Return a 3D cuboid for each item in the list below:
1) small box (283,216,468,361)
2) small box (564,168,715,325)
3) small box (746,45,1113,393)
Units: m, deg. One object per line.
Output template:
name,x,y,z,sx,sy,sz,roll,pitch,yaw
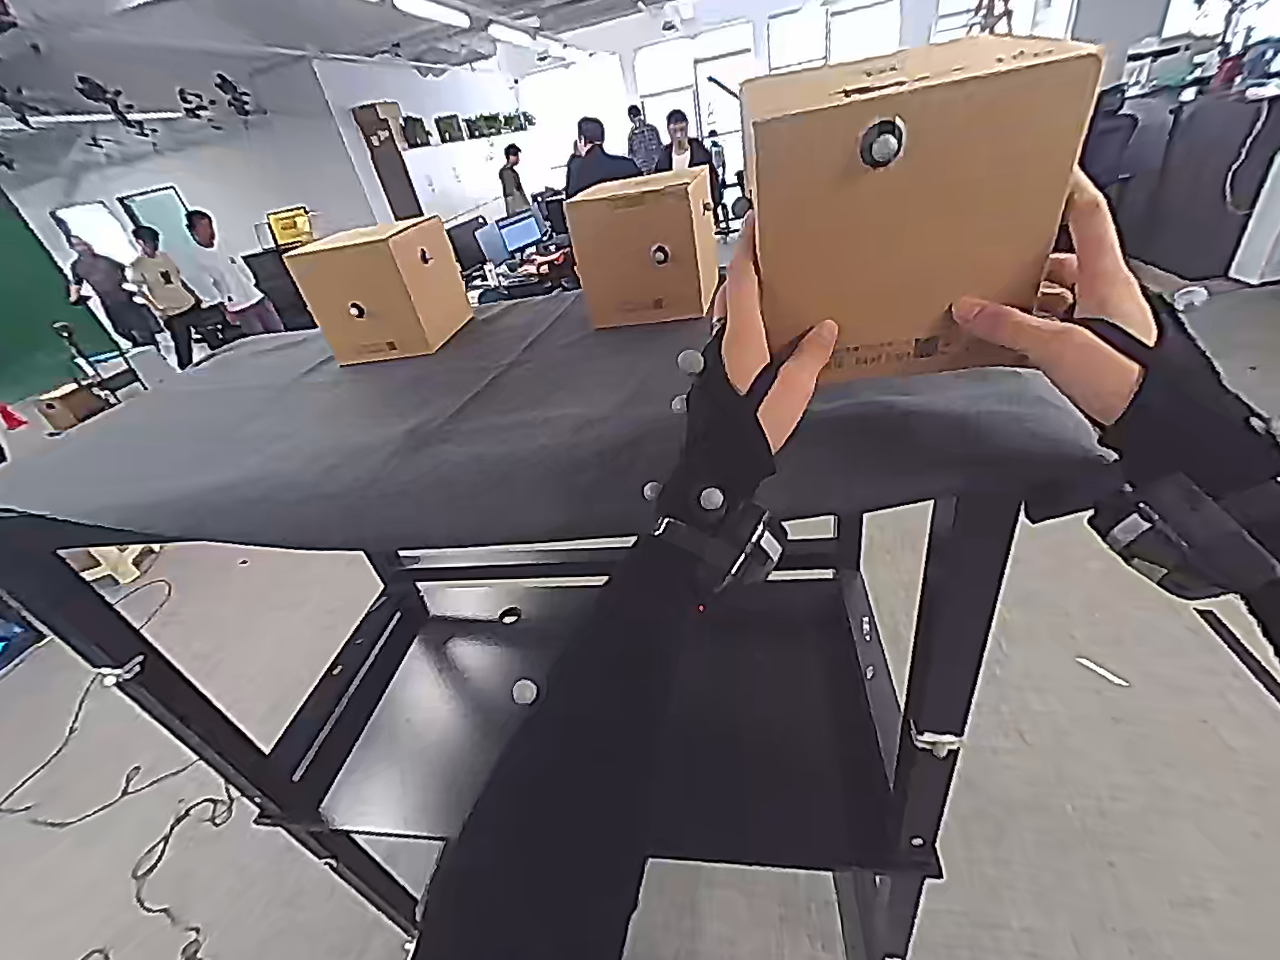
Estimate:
small box,-0.392,-0.293,0.844,0.168,0.176,0.179,-4,34,11
small box,0.012,-0.325,0.769,0.168,0.176,0.179,0,35,16
small box,0.163,-0.180,0.379,0.168,0.176,0.179,-5,40,11
